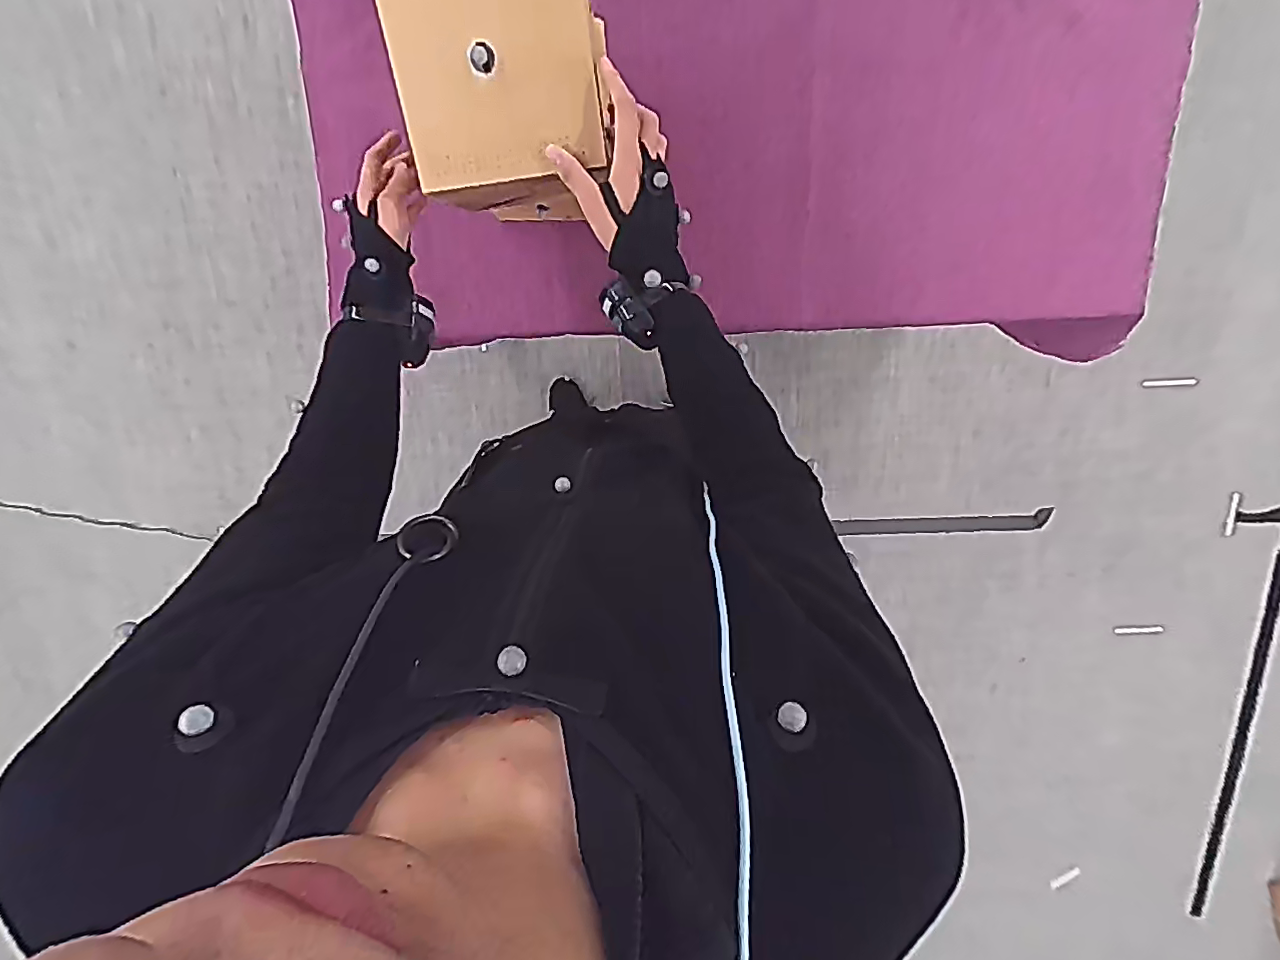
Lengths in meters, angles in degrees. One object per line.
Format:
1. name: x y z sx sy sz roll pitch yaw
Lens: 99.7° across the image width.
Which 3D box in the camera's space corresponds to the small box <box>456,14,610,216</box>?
1. small box: -0.125 -0.449 0.695 0.168 0.176 0.179 0 104 -1
